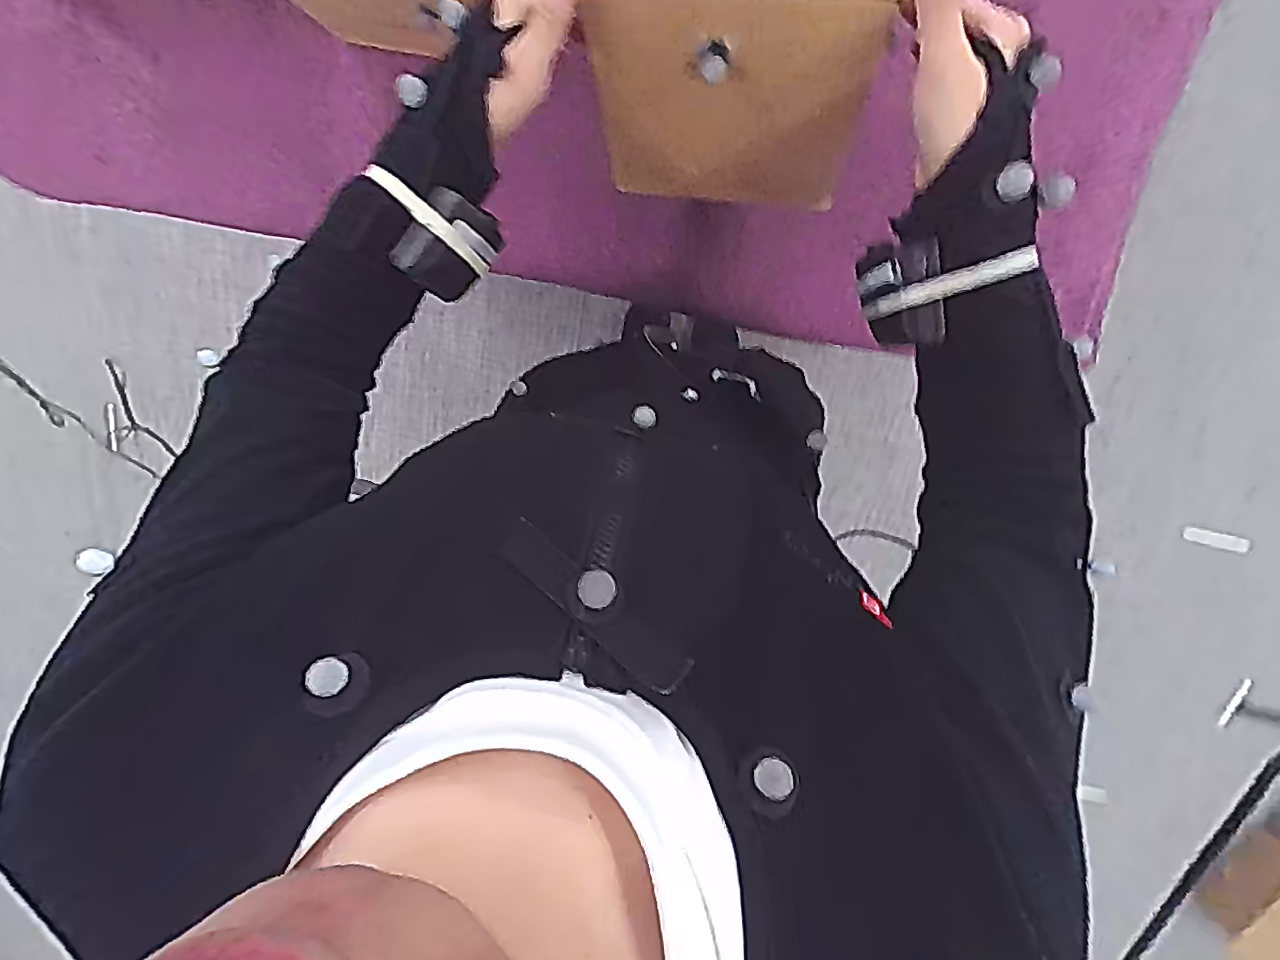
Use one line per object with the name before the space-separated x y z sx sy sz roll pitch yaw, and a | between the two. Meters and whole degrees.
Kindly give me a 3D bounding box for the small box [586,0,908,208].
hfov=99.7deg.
small box | 0.078 -0.320 0.380 0.179 0.176 0.168 10 81 9
